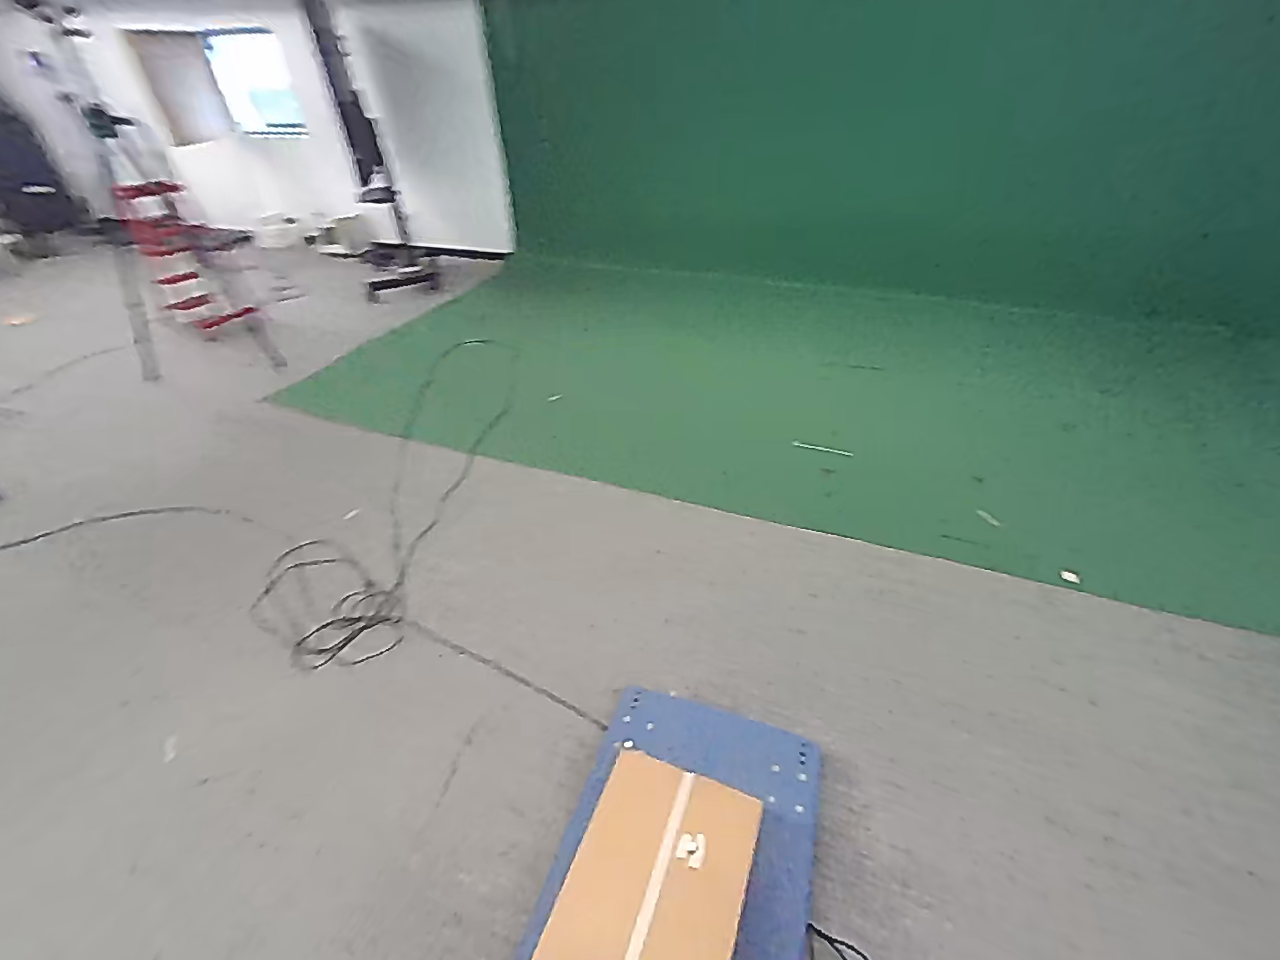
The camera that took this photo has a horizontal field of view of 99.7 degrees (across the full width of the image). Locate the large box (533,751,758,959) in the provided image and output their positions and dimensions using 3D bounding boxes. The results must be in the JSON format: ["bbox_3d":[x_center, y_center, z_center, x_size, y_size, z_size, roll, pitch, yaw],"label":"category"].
[{"bbox_3d":[0.030,0.851,1.076,0.320,0.320,0.408,14,40,17],"label":"large box"}]
